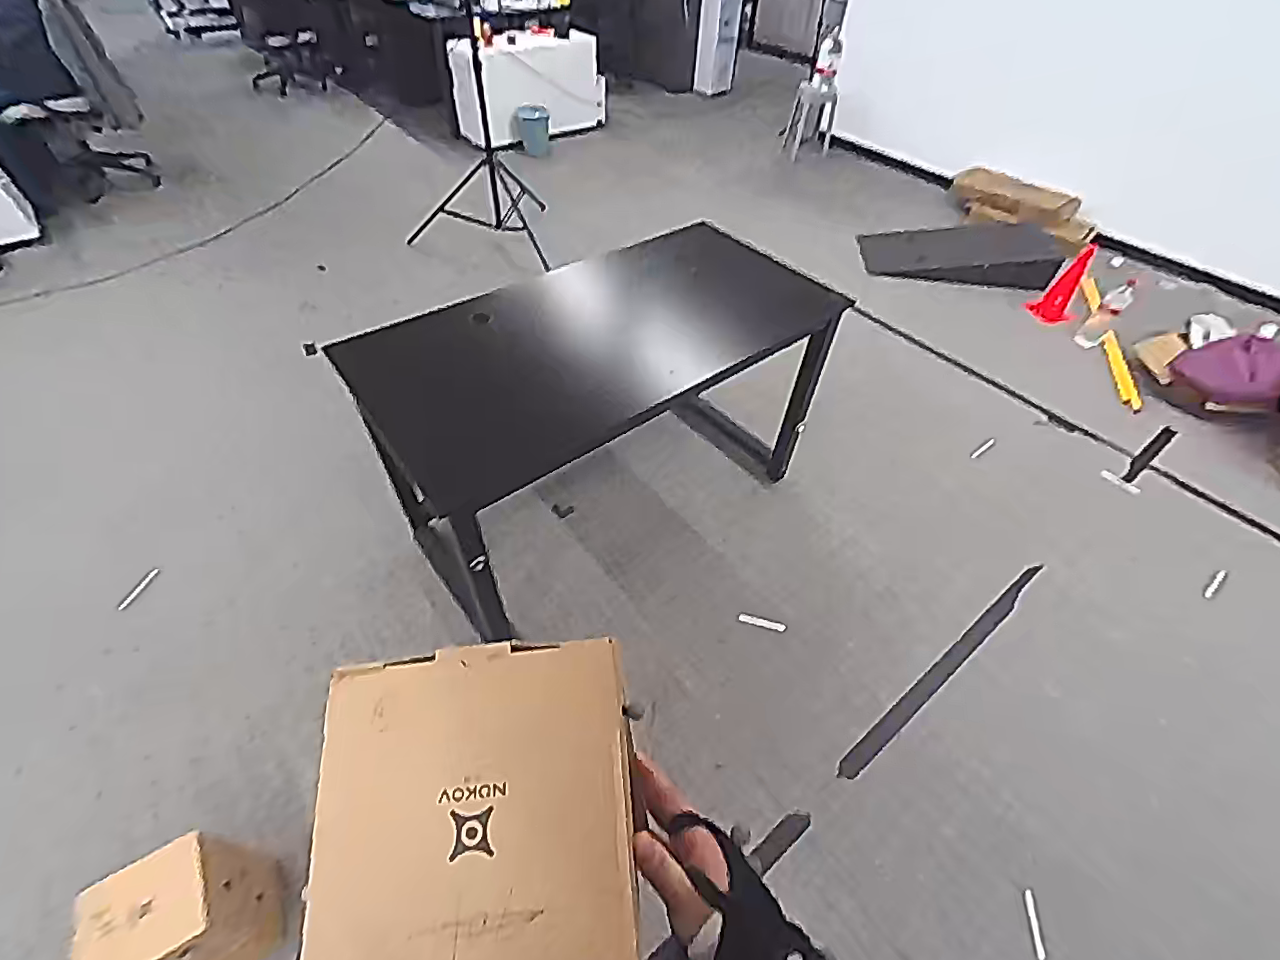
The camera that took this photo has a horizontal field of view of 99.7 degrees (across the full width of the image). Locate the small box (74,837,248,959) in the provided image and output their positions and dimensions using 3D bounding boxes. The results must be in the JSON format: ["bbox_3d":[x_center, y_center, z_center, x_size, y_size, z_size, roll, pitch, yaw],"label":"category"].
[{"bbox_3d":[-0.817,0.766,0.939,0.179,0.176,0.168,-25,53,-23],"label":"small box"}]

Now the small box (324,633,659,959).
[{"bbox_3d":[-0.081,0.211,0.366,0.168,0.176,0.179,-6,68,-2],"label":"small box"}]

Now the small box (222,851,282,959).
[{"bbox_3d":[-0.835,0.877,1.060,0.168,0.176,0.179,-22,54,-21],"label":"small box"}]
